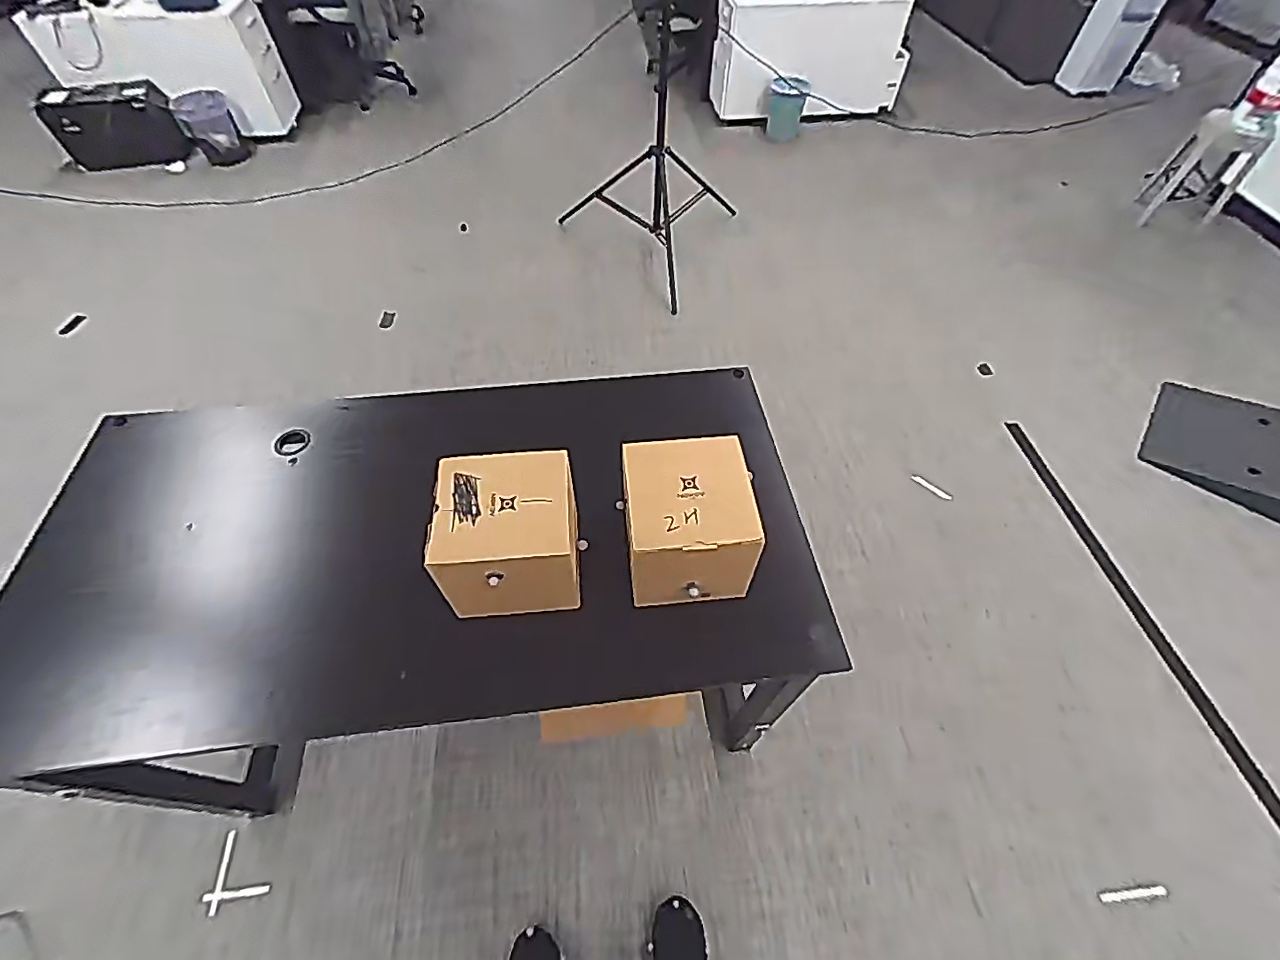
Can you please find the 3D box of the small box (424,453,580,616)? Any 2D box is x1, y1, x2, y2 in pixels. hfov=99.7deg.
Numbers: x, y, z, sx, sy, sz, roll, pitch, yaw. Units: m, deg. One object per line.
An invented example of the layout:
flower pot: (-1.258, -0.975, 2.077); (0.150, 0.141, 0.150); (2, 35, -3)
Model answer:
small box: (-0.180, 0.081, 0.761); (0.179, 0.176, 0.168); (-4, 54, -4)

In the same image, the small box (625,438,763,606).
small box: (0.064, 0.062, 0.776); (0.168, 0.176, 0.179); (-5, 54, -2)
